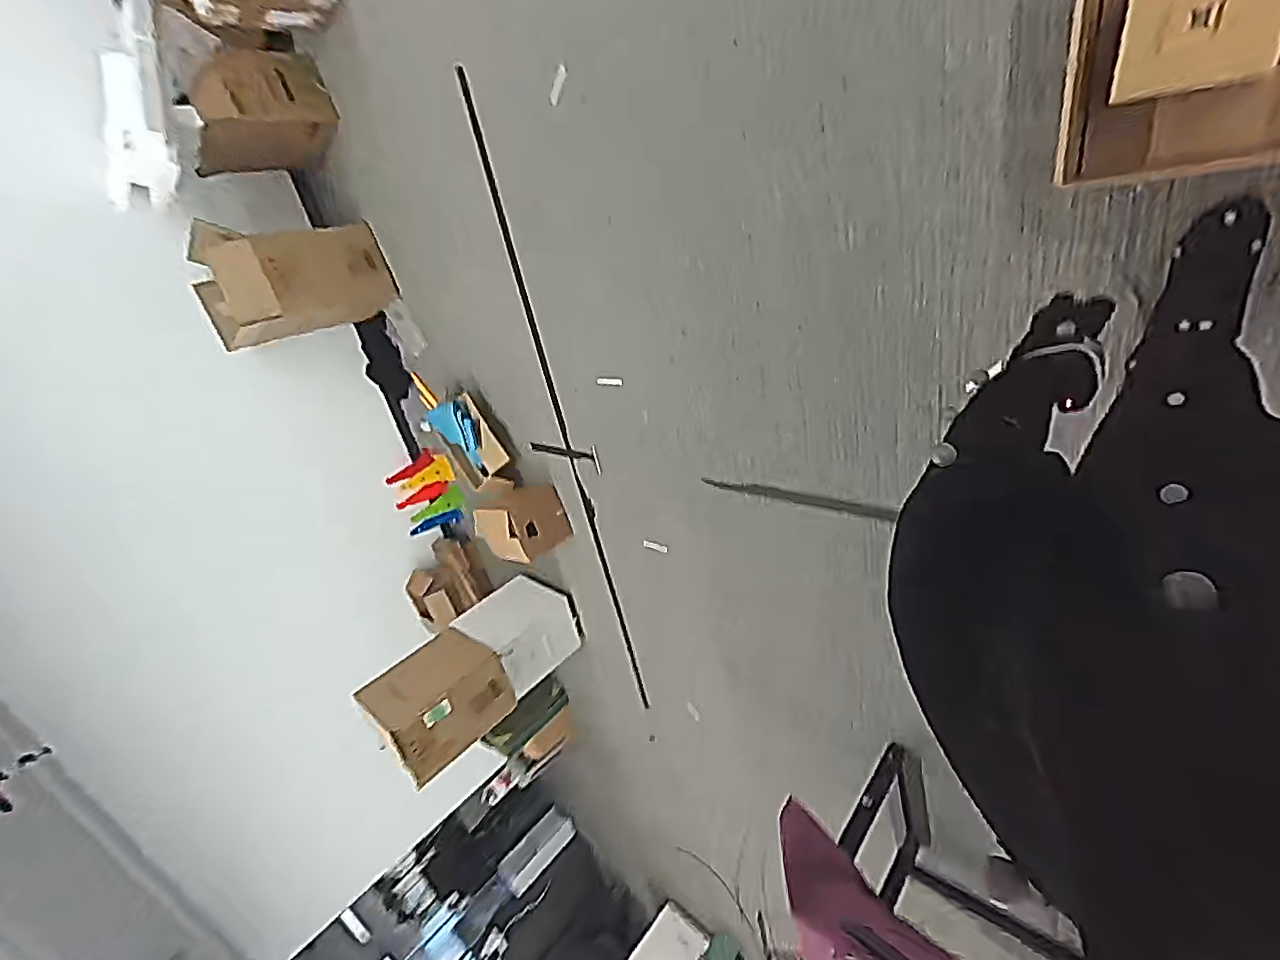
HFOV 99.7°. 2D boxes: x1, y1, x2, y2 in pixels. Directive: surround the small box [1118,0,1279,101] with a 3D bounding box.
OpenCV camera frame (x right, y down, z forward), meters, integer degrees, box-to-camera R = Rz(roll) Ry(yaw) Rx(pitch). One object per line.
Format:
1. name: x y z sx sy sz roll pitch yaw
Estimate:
1. small box: 0.835 -0.669 0.783 0.179 0.176 0.168 16 126 41
